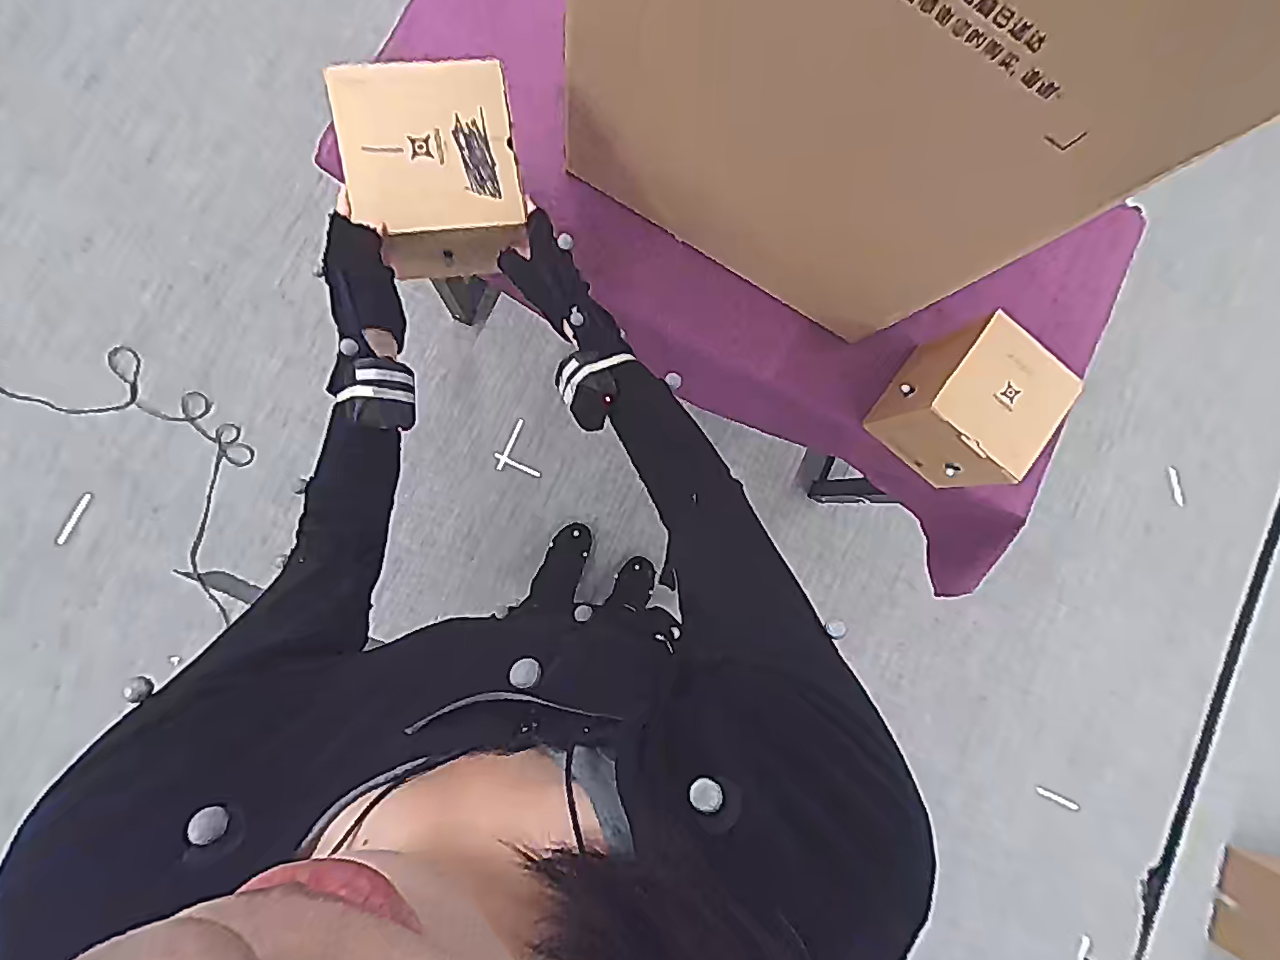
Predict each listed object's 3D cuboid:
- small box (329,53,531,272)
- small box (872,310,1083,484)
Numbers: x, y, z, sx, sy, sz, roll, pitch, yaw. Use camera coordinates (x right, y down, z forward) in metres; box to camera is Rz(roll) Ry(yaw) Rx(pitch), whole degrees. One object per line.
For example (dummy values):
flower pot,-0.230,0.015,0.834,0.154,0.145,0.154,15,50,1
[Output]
small box,-0.224,-0.353,0.628,0.179,0.176,0.168,-9,96,-9
small box,0.479,-0.108,0.798,0.168,0.176,0.179,38,81,-5
